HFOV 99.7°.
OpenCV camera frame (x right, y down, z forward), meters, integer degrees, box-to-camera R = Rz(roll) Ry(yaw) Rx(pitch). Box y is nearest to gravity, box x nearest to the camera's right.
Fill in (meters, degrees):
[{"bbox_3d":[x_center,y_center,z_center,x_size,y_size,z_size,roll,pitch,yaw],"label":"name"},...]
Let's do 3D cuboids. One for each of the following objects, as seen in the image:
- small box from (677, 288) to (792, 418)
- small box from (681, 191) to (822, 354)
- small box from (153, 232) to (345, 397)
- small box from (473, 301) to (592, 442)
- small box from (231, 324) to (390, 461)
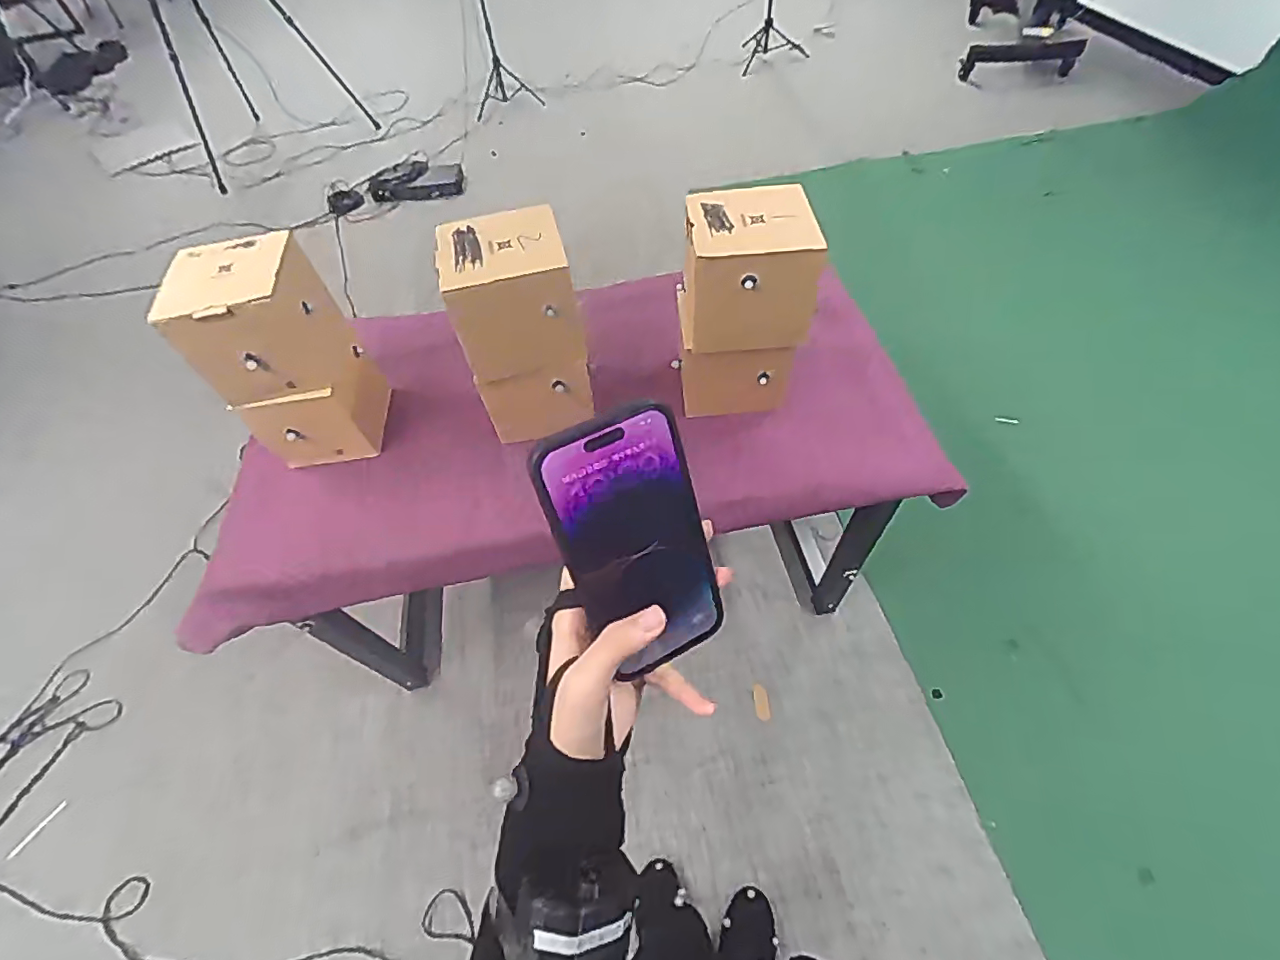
[{"bbox_3d":[0.157,-0.226,0.961,0.179,0.176,0.168,-4,55,3],"label":"small box"},{"bbox_3d":[0.156,-0.307,0.818,0.179,0.176,0.168,-3,55,2],"label":"small box"},{"bbox_3d":[-0.583,-0.247,0.837,0.168,0.176,0.179,-12,56,-4],"label":"small box"},{"bbox_3d":[-0.181,-0.188,0.961,0.179,0.176,0.168,-9,55,-1],"label":"small box"},{"bbox_3d":[-0.570,-0.147,0.967,0.168,0.176,0.179,-8,55,-1],"label":"small box"}]
